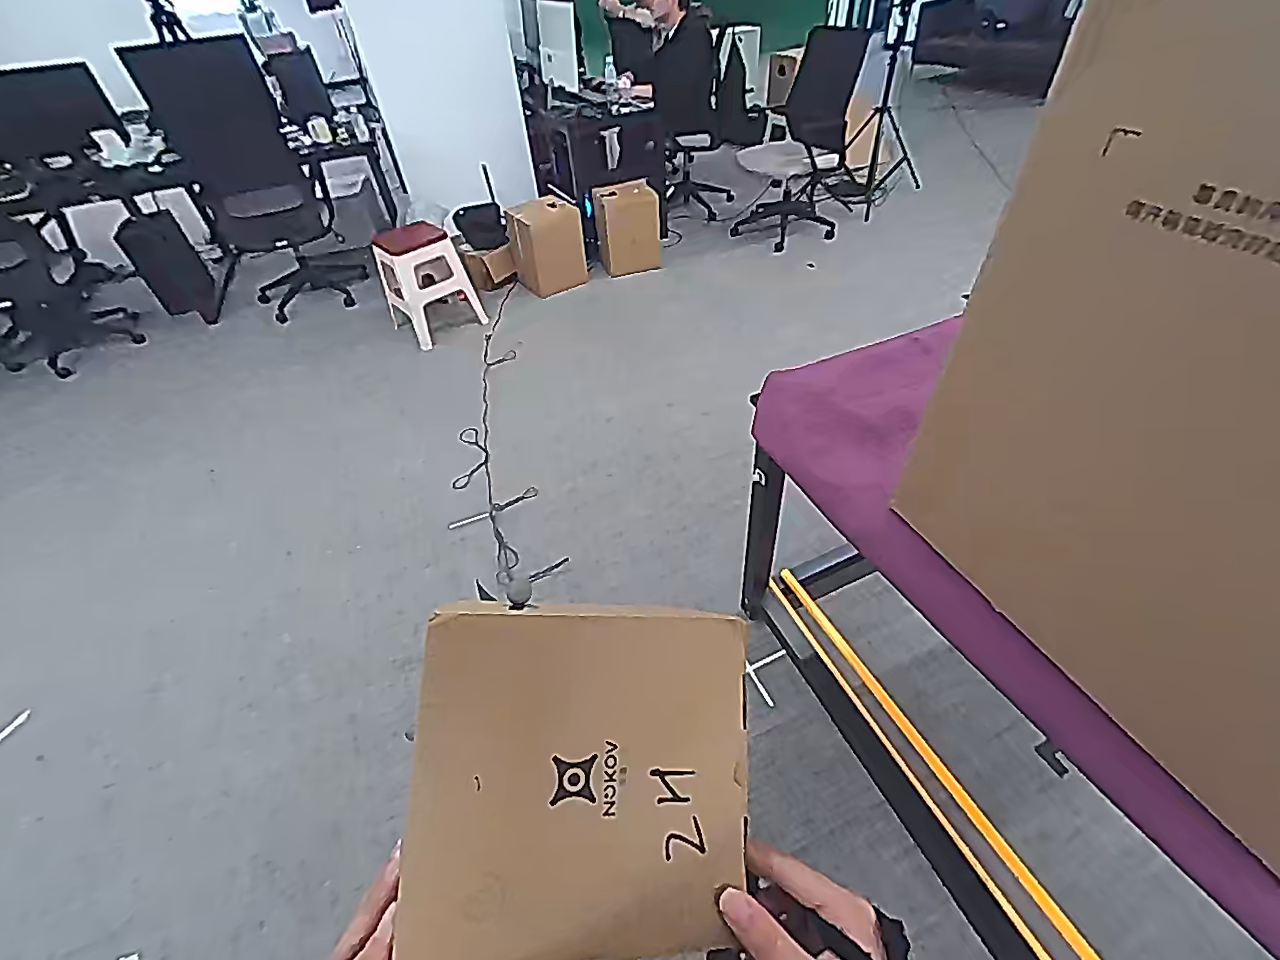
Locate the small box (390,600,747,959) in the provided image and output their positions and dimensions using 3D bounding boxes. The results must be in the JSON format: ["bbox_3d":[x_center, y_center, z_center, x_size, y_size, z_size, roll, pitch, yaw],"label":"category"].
[{"bbox_3d":[-0.046,0.166,0.354,0.179,0.176,0.168,4,78,-14],"label":"small box"}]
